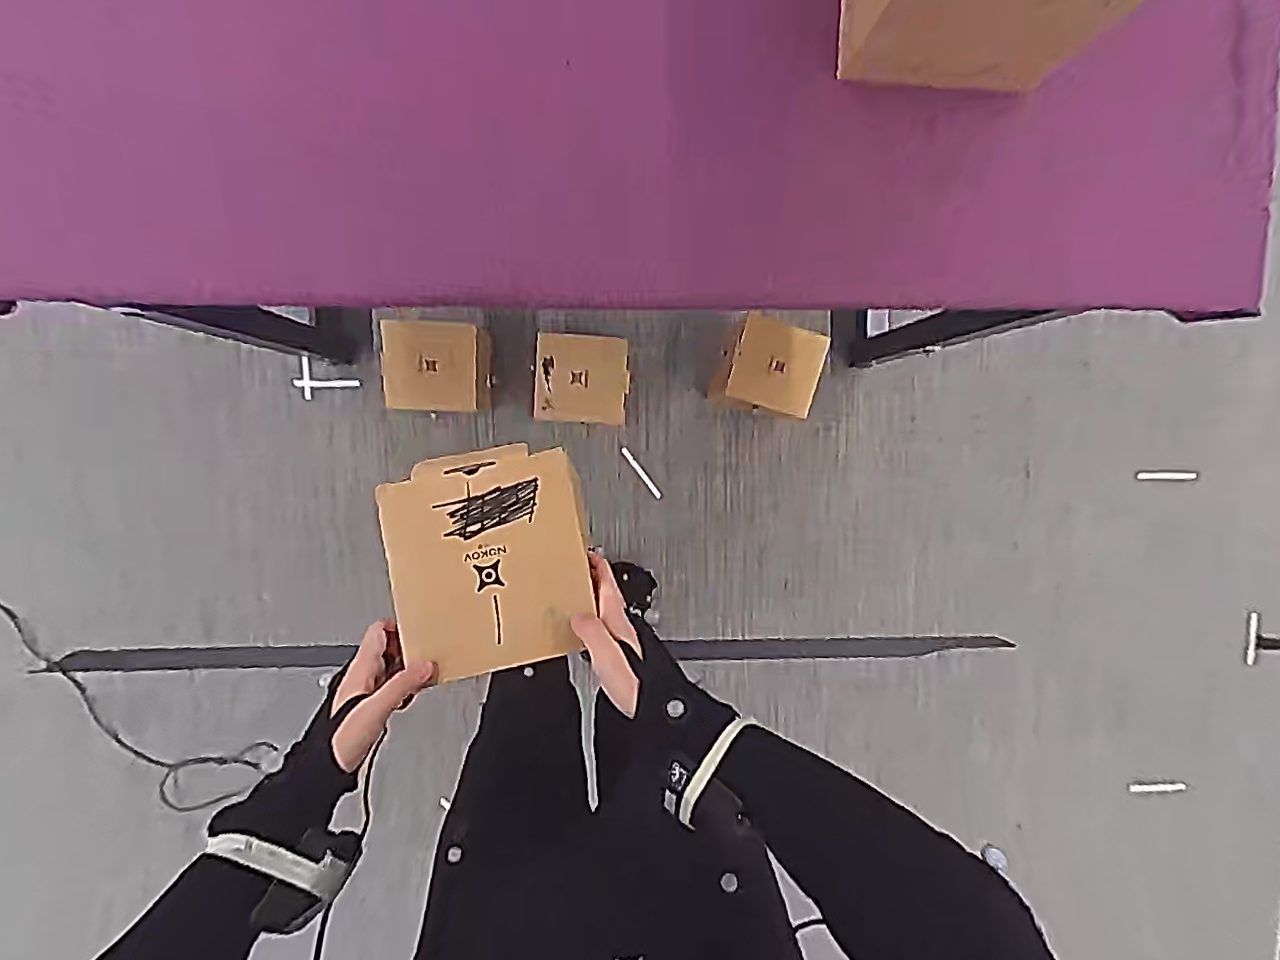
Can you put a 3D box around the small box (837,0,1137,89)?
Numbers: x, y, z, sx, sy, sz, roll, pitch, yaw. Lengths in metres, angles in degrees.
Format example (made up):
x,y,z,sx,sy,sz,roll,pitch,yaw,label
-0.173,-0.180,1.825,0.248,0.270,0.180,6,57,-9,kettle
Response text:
x,y,z,sx,sy,sz,roll,pitch,yaw,label
0.262,-0.412,0.379,0.179,0.176,0.168,1,94,-3,small box

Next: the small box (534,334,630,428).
x,y,z,sx,sy,sz,roll,pitch,yaw,label
-0.117,-0.197,1.107,0.179,0.176,0.168,3,95,-4,small box

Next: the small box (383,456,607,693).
x,y,z,sx,sy,sz,roll,pitch,yaw,label
-0.130,0.089,0.540,0.168,0.176,0.179,-12,83,-4,small box

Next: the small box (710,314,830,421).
x,y,z,sx,sy,sz,roll,pitch,yaw,label
0.261,-0.228,1.131,0.179,0.176,0.168,16,95,-4,small box

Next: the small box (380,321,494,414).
x,y,z,sx,sy,sz,roll,pitch,yaw,label
-0.399,-0.219,1.087,0.179,0.176,0.168,0,96,-5,small box
